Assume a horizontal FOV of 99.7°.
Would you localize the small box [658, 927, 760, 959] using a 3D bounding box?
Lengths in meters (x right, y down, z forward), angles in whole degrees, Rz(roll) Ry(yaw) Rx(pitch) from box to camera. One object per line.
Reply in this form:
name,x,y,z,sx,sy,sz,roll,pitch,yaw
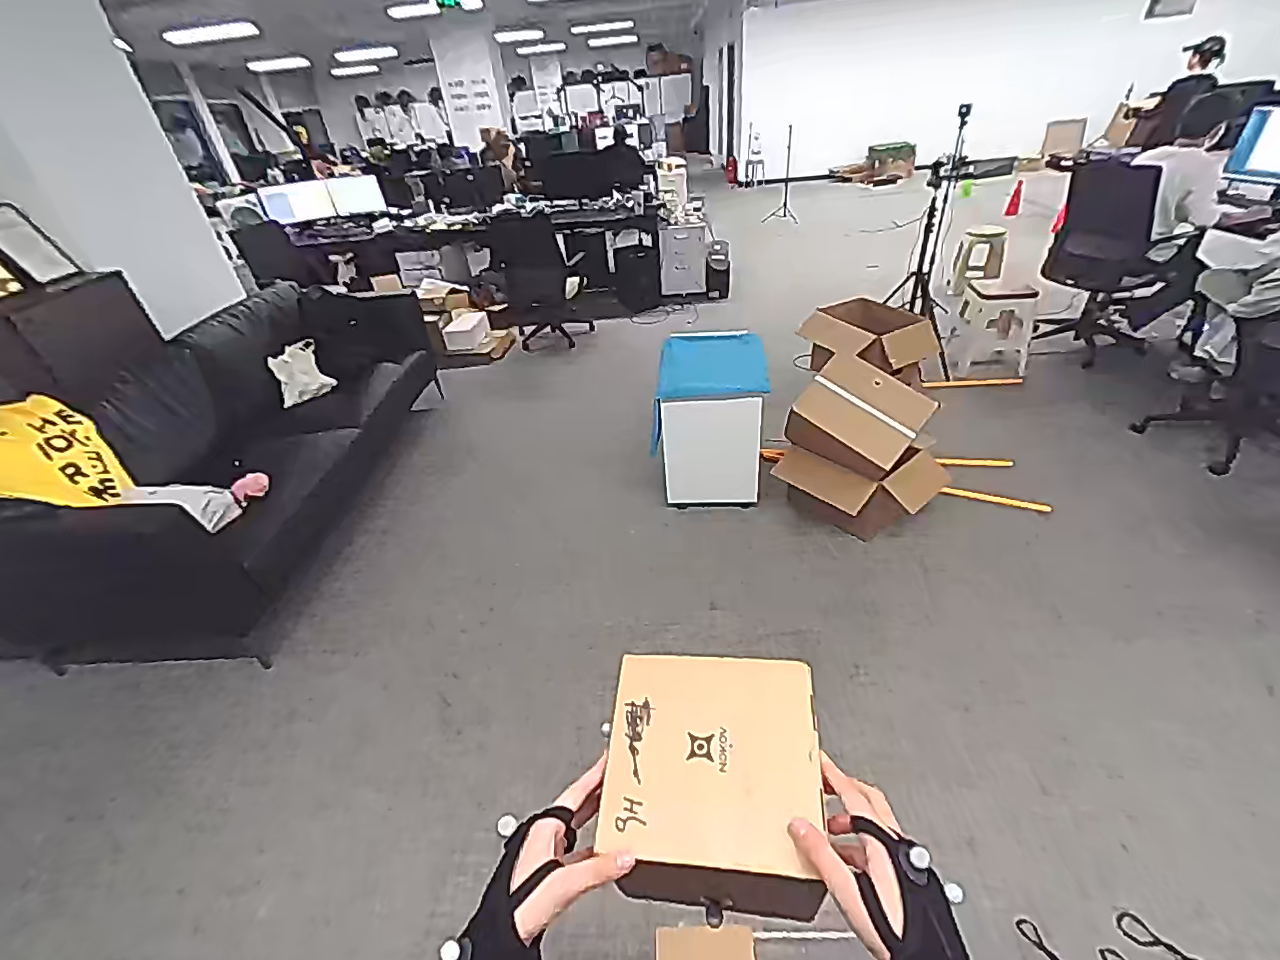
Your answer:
small box,0.128,0.910,0.943,0.179,0.176,0.168,-4,36,4
